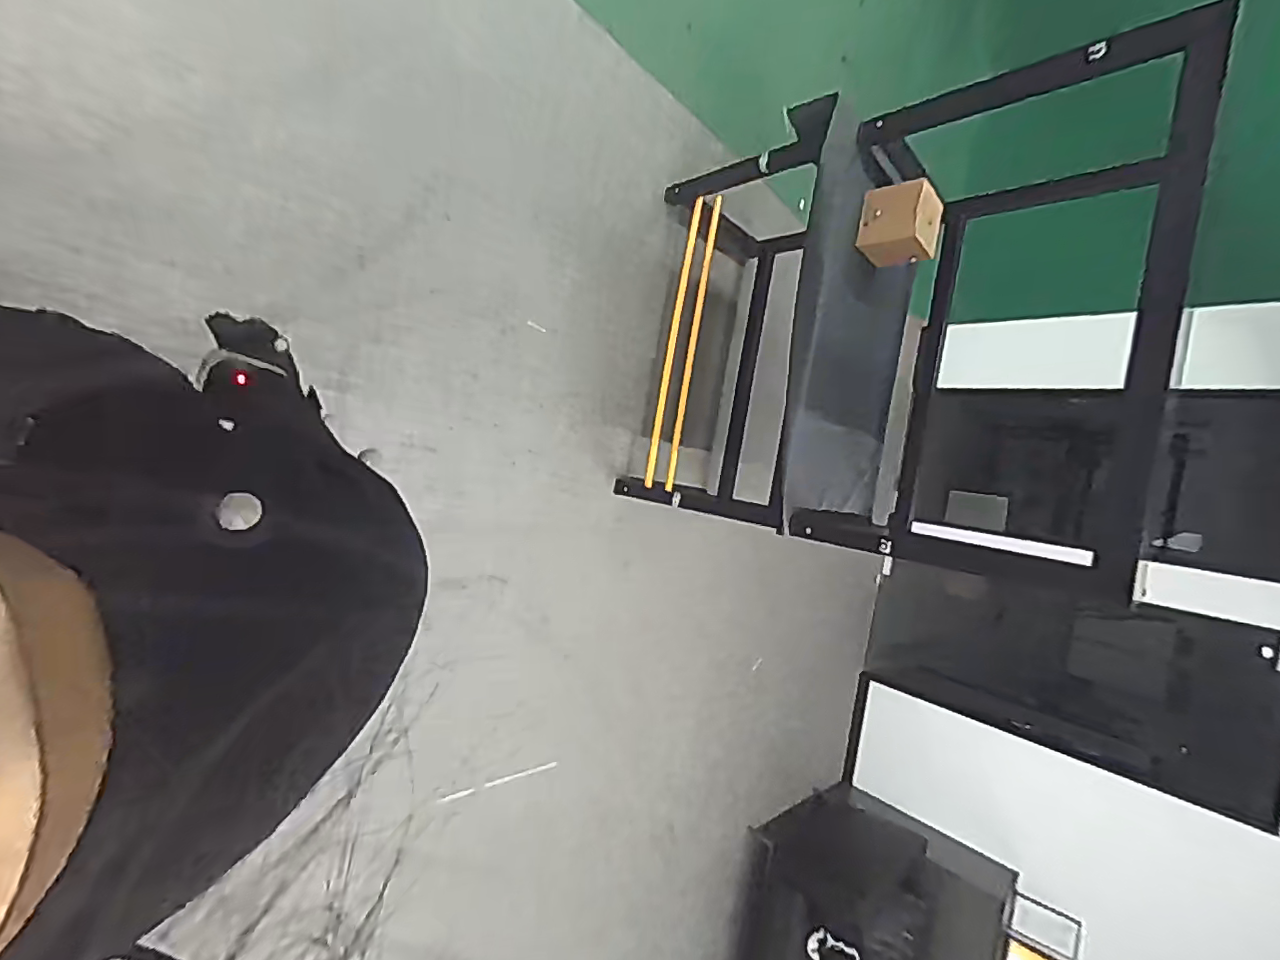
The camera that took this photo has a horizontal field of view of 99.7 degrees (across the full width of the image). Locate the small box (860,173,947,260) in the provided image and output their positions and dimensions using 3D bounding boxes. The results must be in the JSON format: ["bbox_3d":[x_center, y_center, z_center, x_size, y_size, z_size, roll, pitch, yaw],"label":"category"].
[{"bbox_3d":[0.777,-0.765,1.594,0.179,0.176,0.168,9,91,-46],"label":"small box"}]
